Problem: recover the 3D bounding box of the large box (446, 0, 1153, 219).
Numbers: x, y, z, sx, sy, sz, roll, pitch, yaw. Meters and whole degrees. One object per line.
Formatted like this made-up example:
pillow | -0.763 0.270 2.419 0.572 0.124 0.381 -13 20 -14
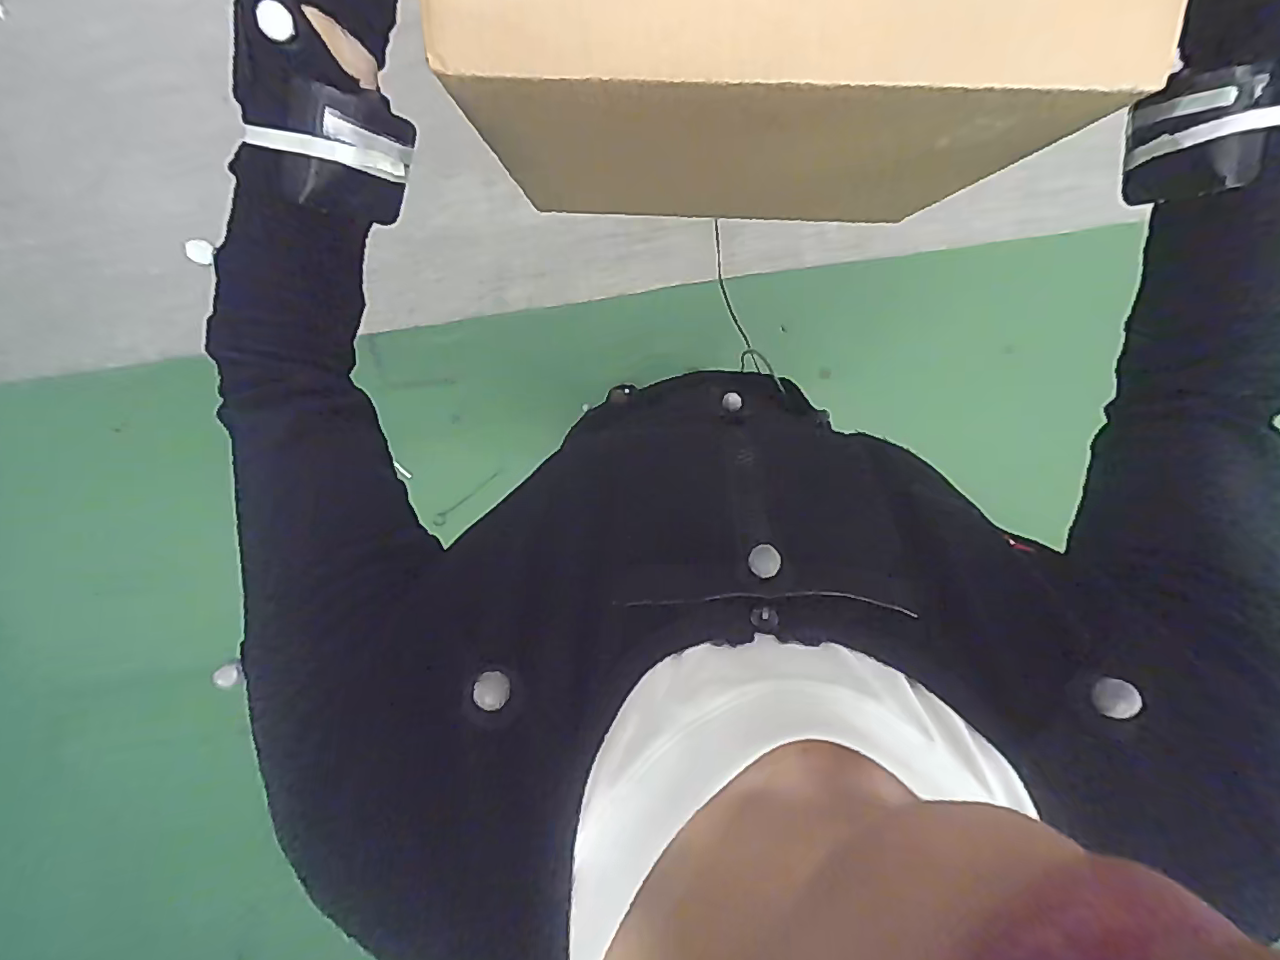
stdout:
large box | 0.088 -0.408 0.423 0.408 0.320 0.320 1 104 0
